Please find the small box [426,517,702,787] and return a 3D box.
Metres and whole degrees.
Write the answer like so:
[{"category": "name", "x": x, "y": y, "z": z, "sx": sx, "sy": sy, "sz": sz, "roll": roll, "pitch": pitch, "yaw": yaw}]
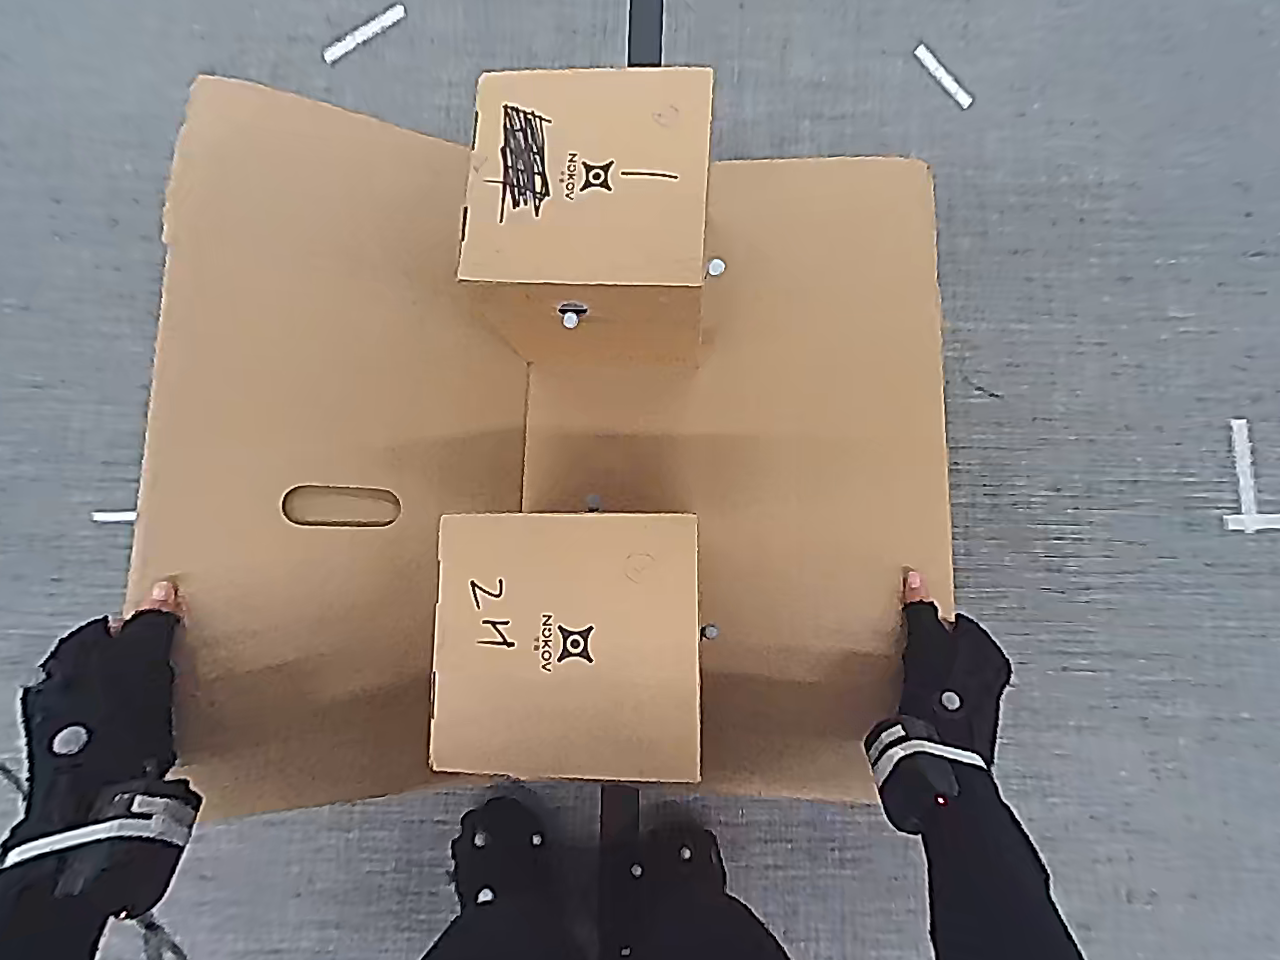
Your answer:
[{"category": "small box", "x": -0.042, "y": 0.115, "z": 0.426, "sx": 0.179, "sy": 0.176, "sz": 0.168, "roll": 0, "pitch": 83, "yaw": 6}]
